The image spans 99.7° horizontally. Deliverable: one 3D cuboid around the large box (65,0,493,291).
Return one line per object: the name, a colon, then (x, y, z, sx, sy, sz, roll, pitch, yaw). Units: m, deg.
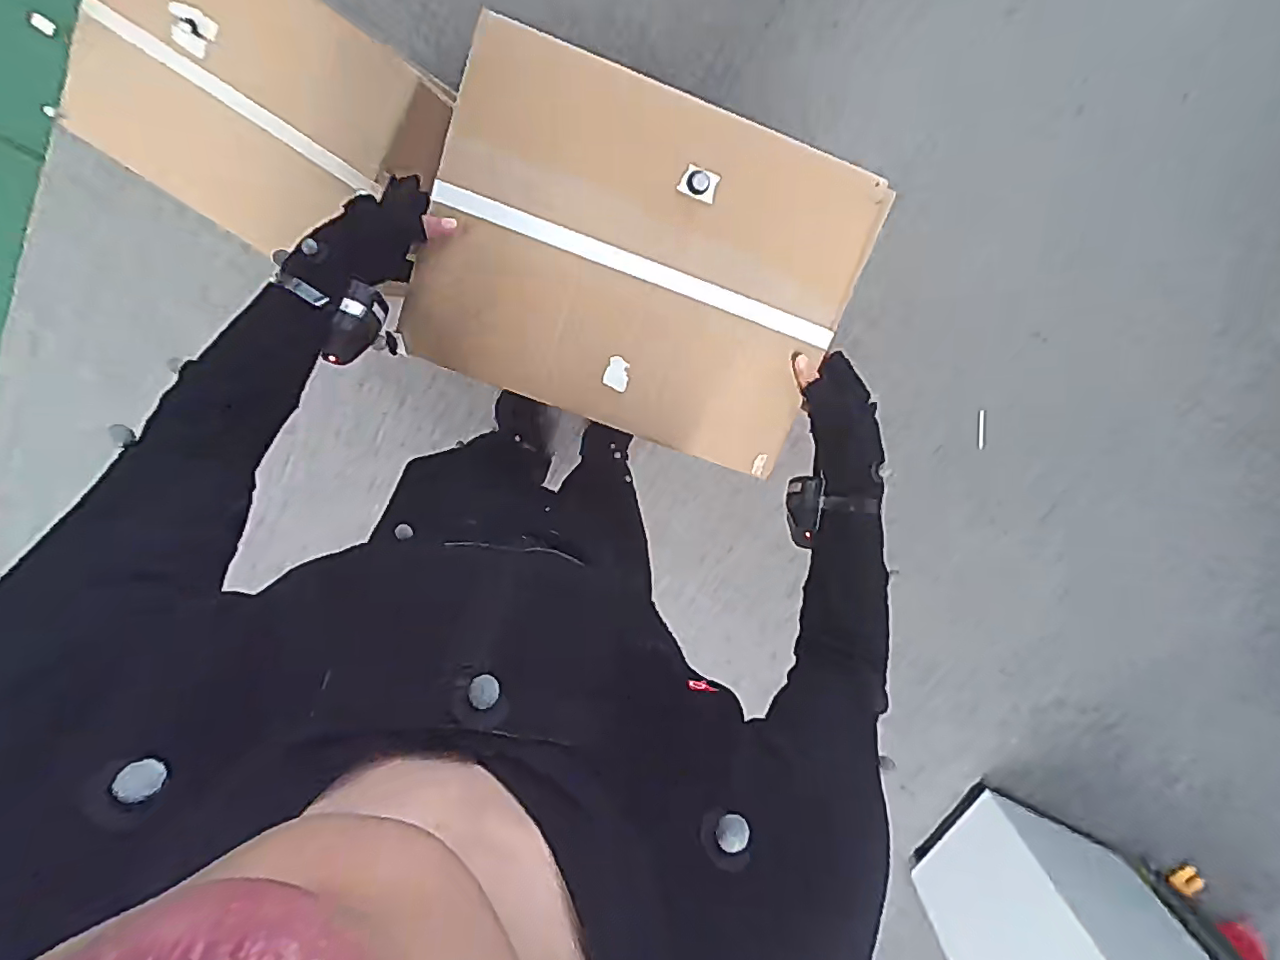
large box: (-0.510, -0.537, 0.836, 0.408, 0.320, 0.320, 34, 107, -5)
